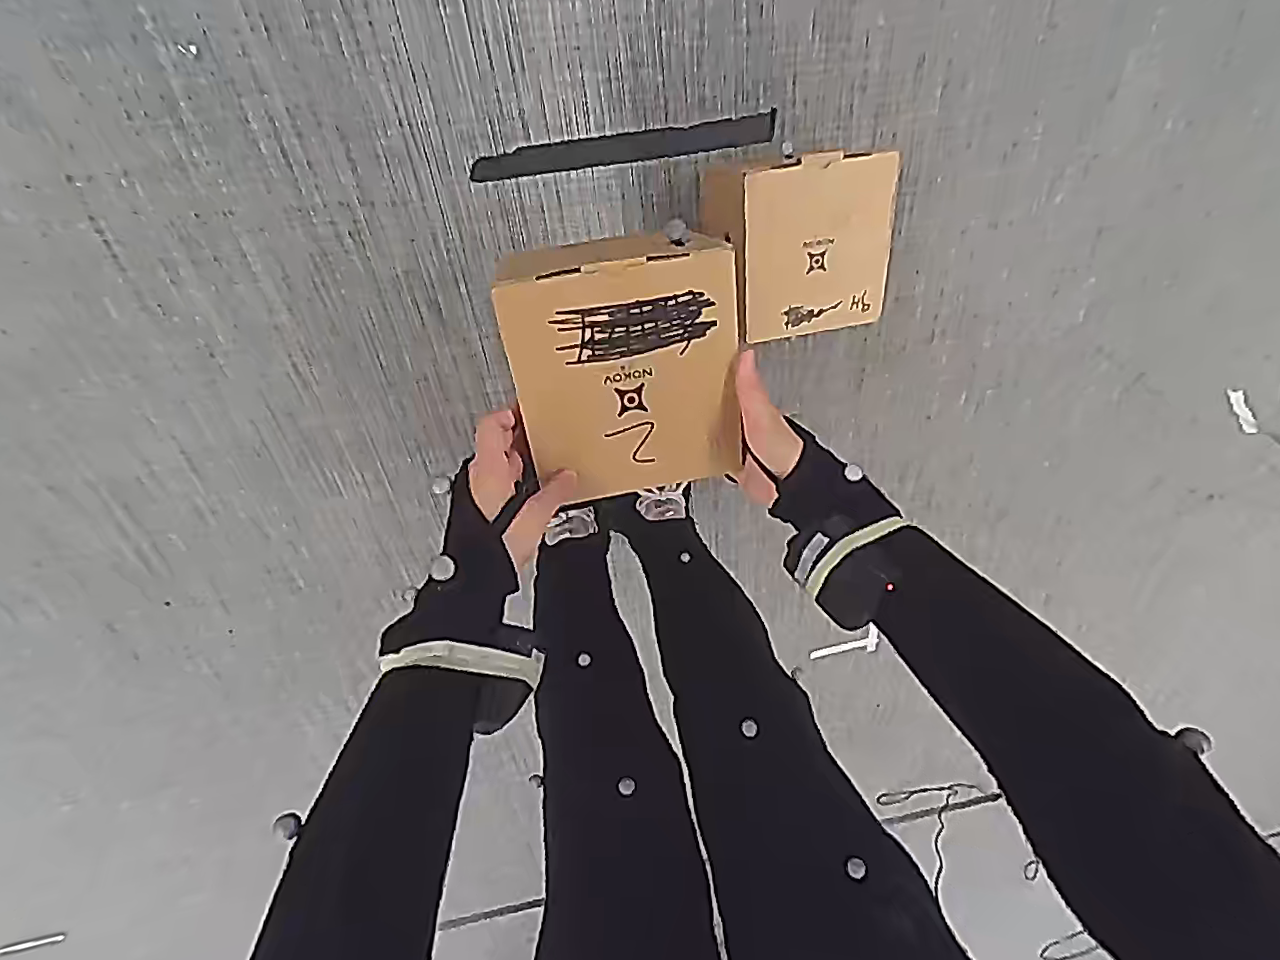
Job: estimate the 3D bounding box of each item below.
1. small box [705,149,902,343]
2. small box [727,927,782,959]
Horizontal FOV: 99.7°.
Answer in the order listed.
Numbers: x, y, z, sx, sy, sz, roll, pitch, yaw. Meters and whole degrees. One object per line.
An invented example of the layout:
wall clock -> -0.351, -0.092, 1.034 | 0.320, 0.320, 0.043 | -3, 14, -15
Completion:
small box -> 0.179, -0.281, 0.644 | 0.168, 0.176, 0.179 | -11, 122, -5
small box -> 0.414, 1.728, 1.920 | 0.168, 0.176, 0.179 | -9, 124, -6
